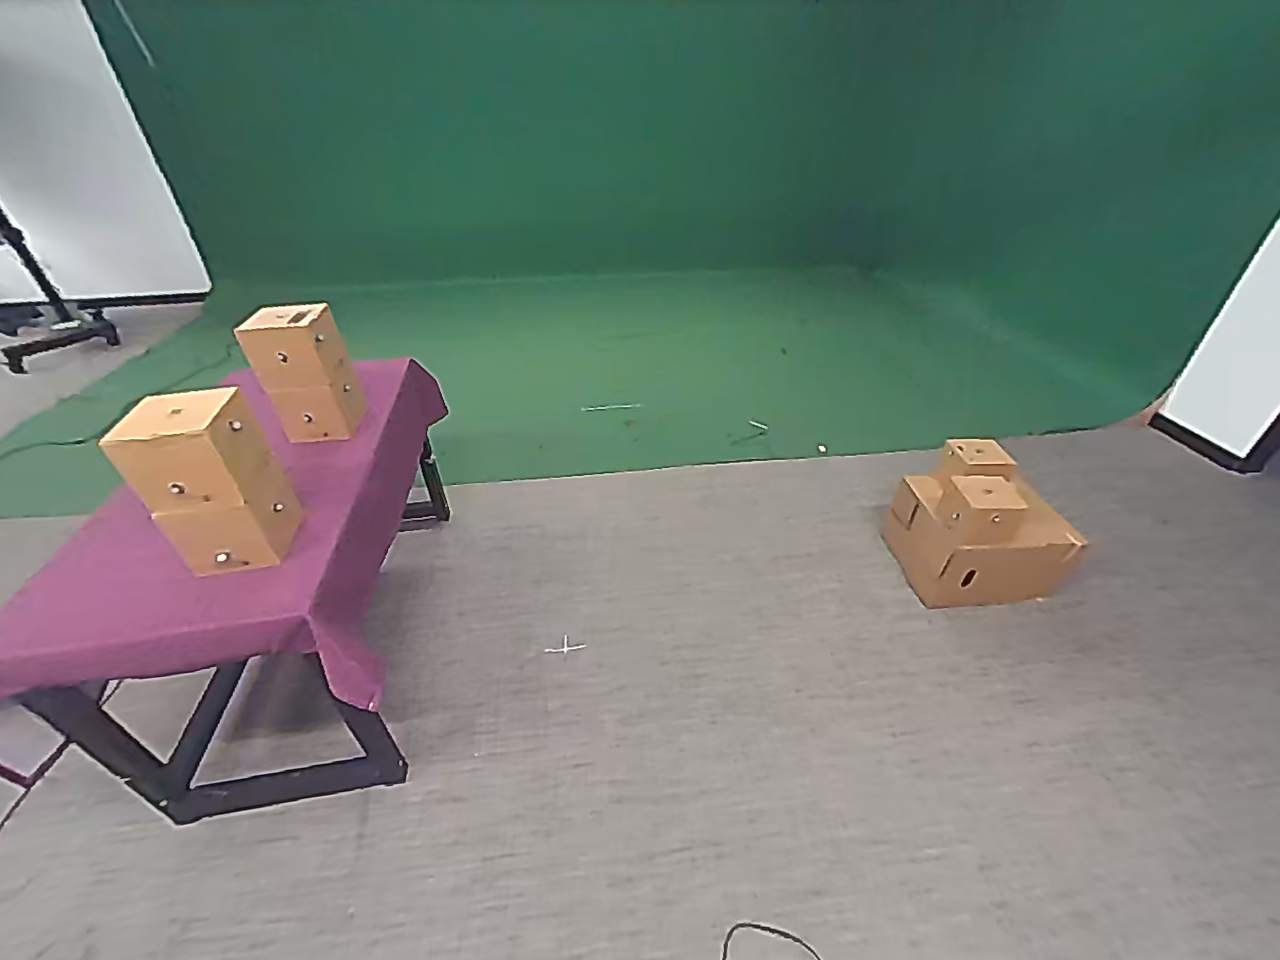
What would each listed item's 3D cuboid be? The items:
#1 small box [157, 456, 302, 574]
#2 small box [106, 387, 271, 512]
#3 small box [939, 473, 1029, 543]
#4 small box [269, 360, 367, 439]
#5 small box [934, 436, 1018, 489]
[{"bbox_3d":[-0.850,0.072,1.145,0.168,0.176,0.179,-8,38,-9],"label":"small box"},{"bbox_3d":[-0.856,-0.061,1.052,0.168,0.176,0.179,-9,38,-10],"label":"small box"},{"bbox_3d":[1.108,0.093,1.765,0.179,0.176,0.168,1,38,0],"label":"small box"},{"bbox_3d":[-0.910,-0.228,1.549,0.168,0.176,0.179,-4,37,-4],"label":"small box"},{"bbox_3d":[1.202,-0.044,1.950,0.179,0.176,0.168,1,36,-1],"label":"small box"}]
